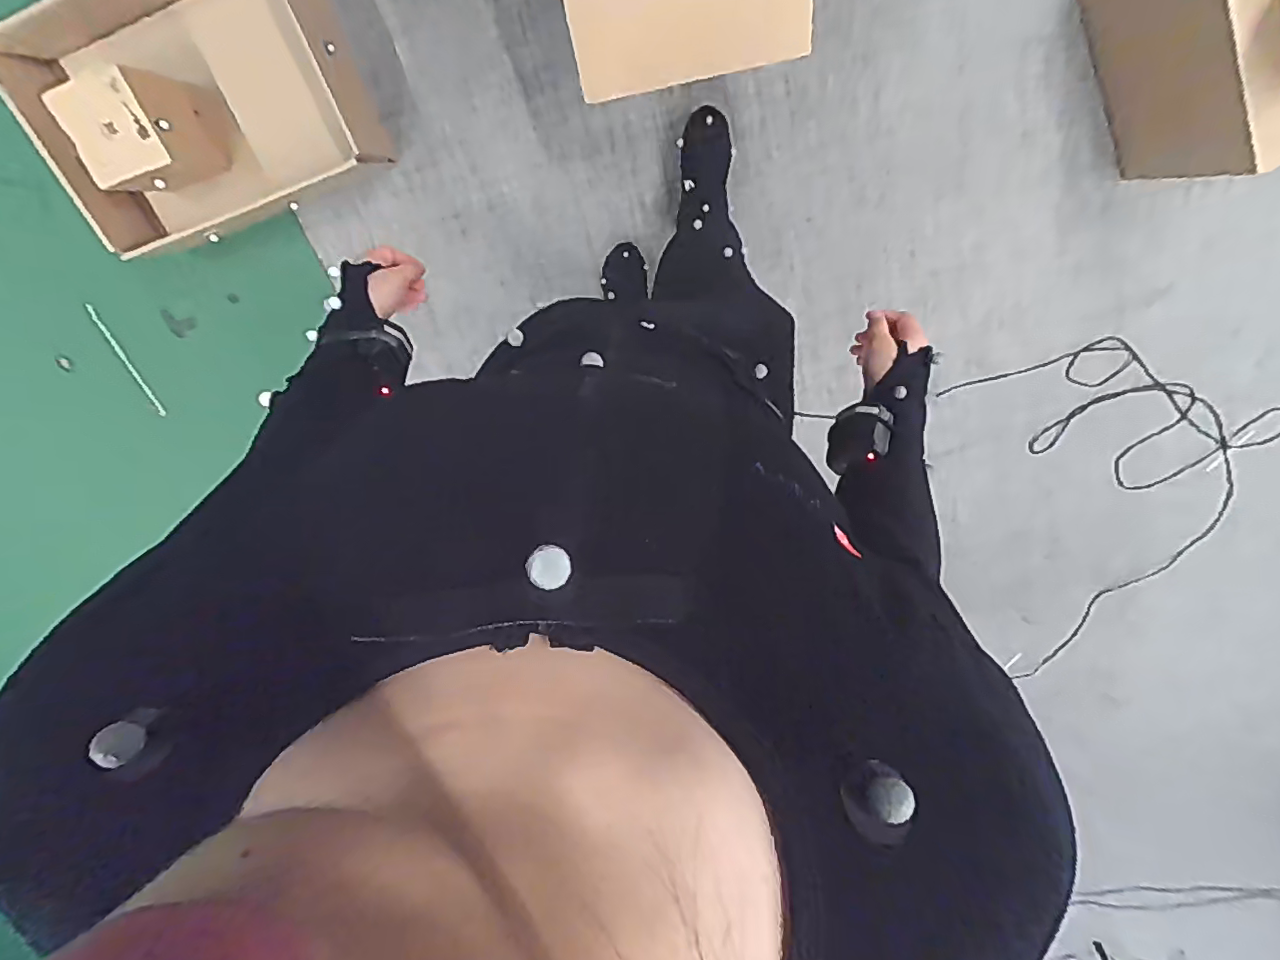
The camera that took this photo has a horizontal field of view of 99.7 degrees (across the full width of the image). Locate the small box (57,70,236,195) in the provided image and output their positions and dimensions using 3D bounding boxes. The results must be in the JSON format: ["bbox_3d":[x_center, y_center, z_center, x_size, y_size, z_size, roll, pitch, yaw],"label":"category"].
[{"bbox_3d":[-1.001,-0.703,1.115,0.179,0.176,0.168,-14,114,9],"label":"small box"}]
